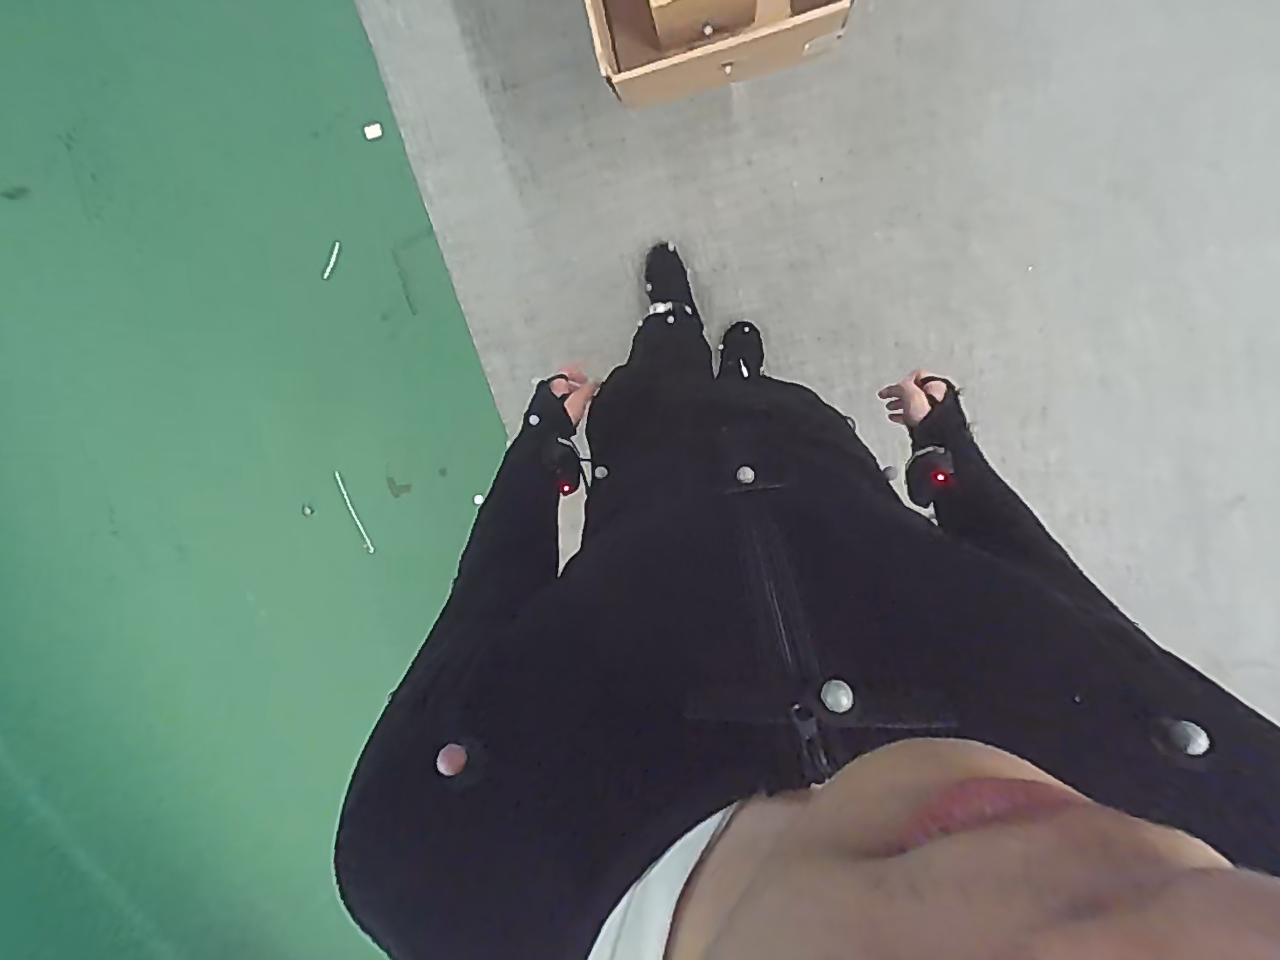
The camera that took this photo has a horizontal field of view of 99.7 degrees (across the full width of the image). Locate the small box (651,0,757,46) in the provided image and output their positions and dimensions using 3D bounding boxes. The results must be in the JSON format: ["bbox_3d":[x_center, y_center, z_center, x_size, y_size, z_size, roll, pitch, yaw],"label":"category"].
[{"bbox_3d":[0.088,-0.823,0.830,0.168,0.176,0.179,-9,108,13],"label":"small box"}]
